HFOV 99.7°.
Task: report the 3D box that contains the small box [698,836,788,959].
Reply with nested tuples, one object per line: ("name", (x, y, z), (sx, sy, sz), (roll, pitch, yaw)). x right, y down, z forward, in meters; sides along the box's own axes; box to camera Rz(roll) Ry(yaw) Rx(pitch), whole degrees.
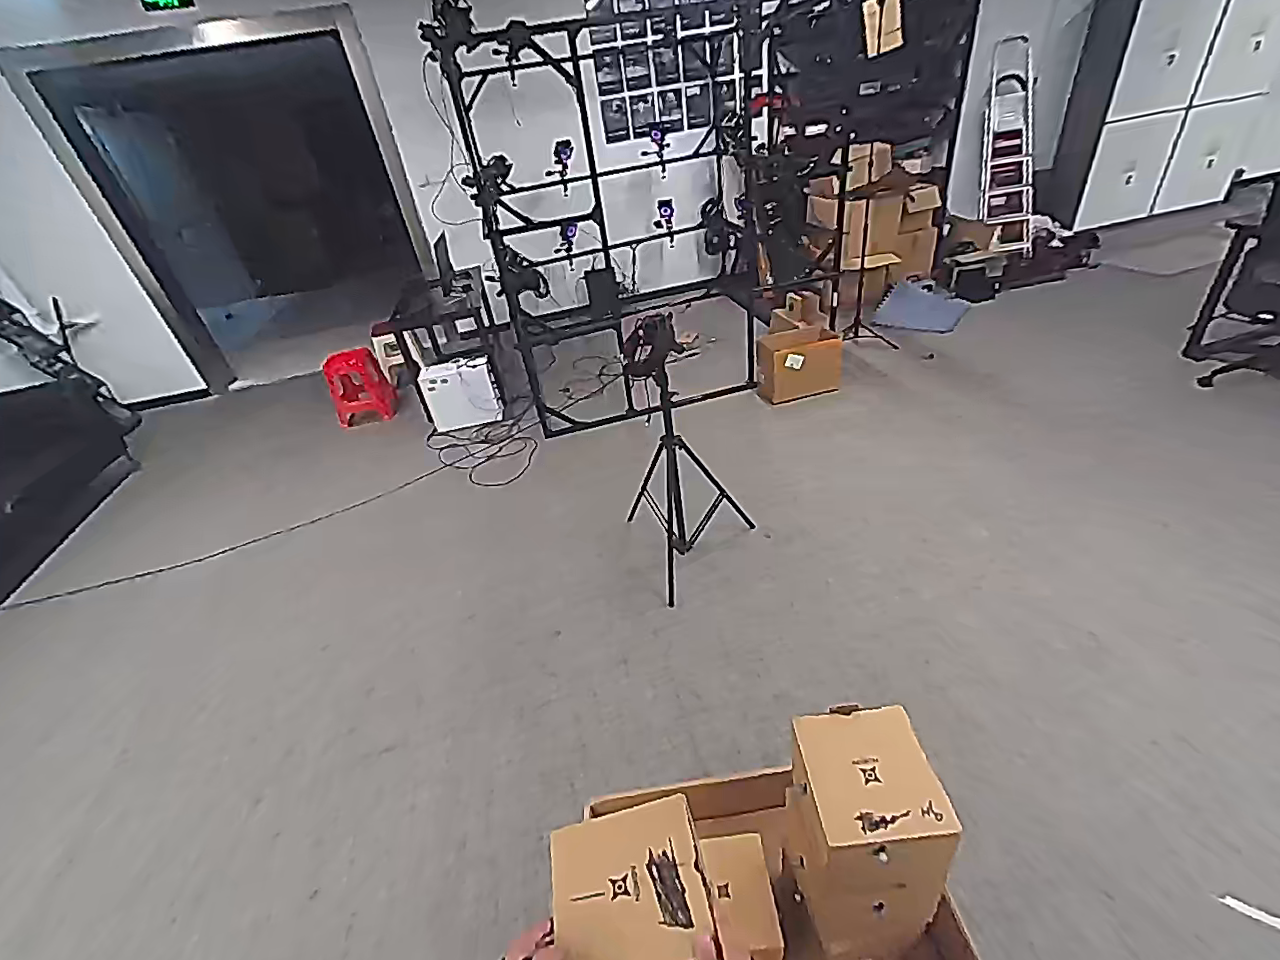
("small box", (0.149, 0.757, 0.946), (0.179, 0.176, 0.168), (-8, 34, 2))

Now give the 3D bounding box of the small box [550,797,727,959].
("small box", (0.001, 0.521, 0.643), (0.179, 0.176, 0.168), (-16, 32, -2))

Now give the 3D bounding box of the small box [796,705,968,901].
("small box", (0.321, 0.450, 0.760), (0.168, 0.176, 0.179), (-9, 33, 4))

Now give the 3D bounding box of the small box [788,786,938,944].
("small box", (0.345, 0.588, 0.848), (0.179, 0.176, 0.168), (-12, 34, -1))
